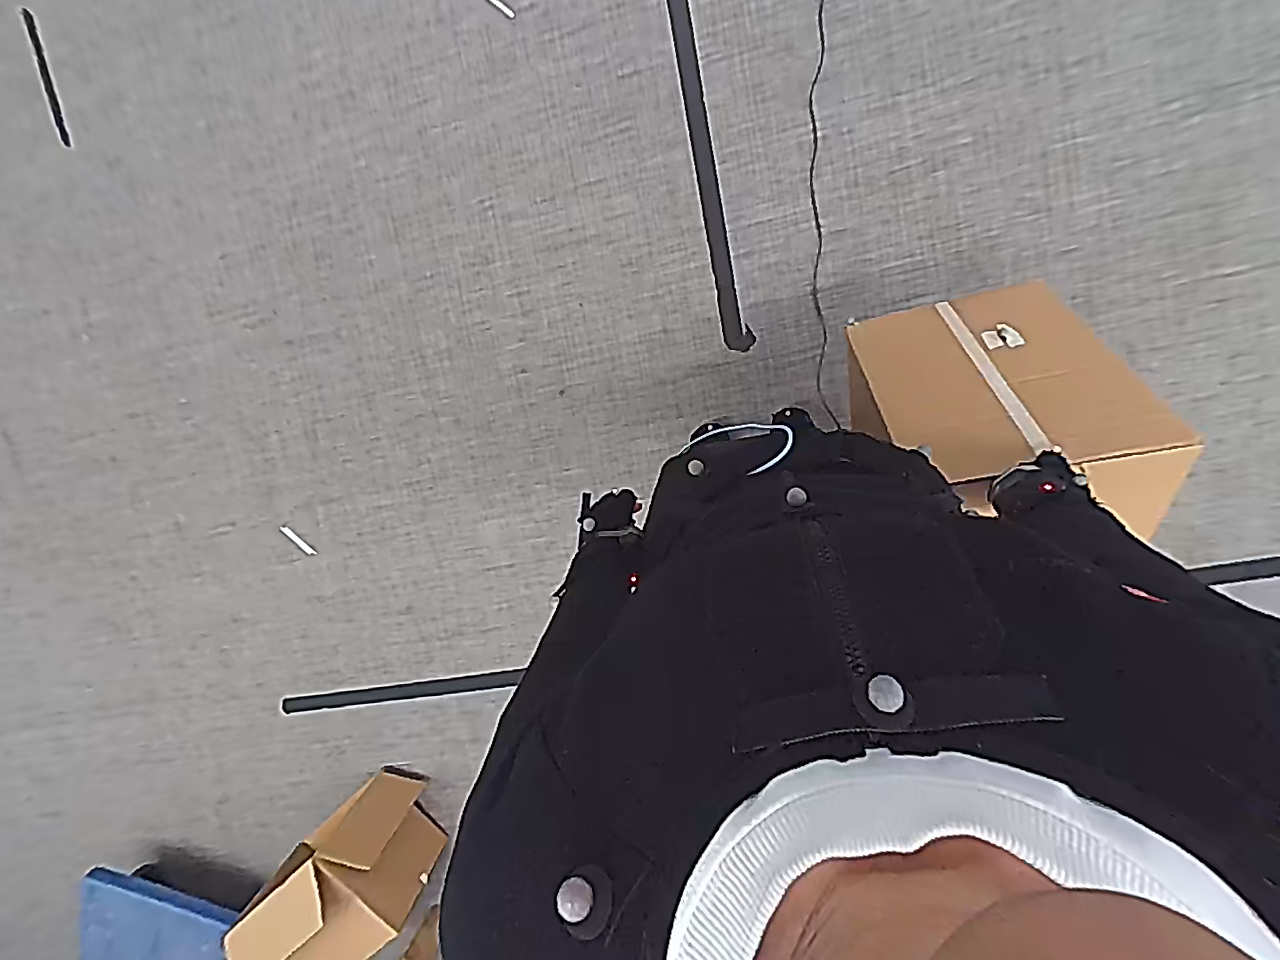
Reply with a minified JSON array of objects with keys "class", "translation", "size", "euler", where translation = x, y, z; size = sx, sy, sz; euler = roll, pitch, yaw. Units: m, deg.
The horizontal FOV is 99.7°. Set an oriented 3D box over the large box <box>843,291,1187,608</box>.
[{"class":"large box","translation":[0.556,-0.052,0.911],"size":[0.320,0.408,0.320],"euler":[-10,134,13]}]
